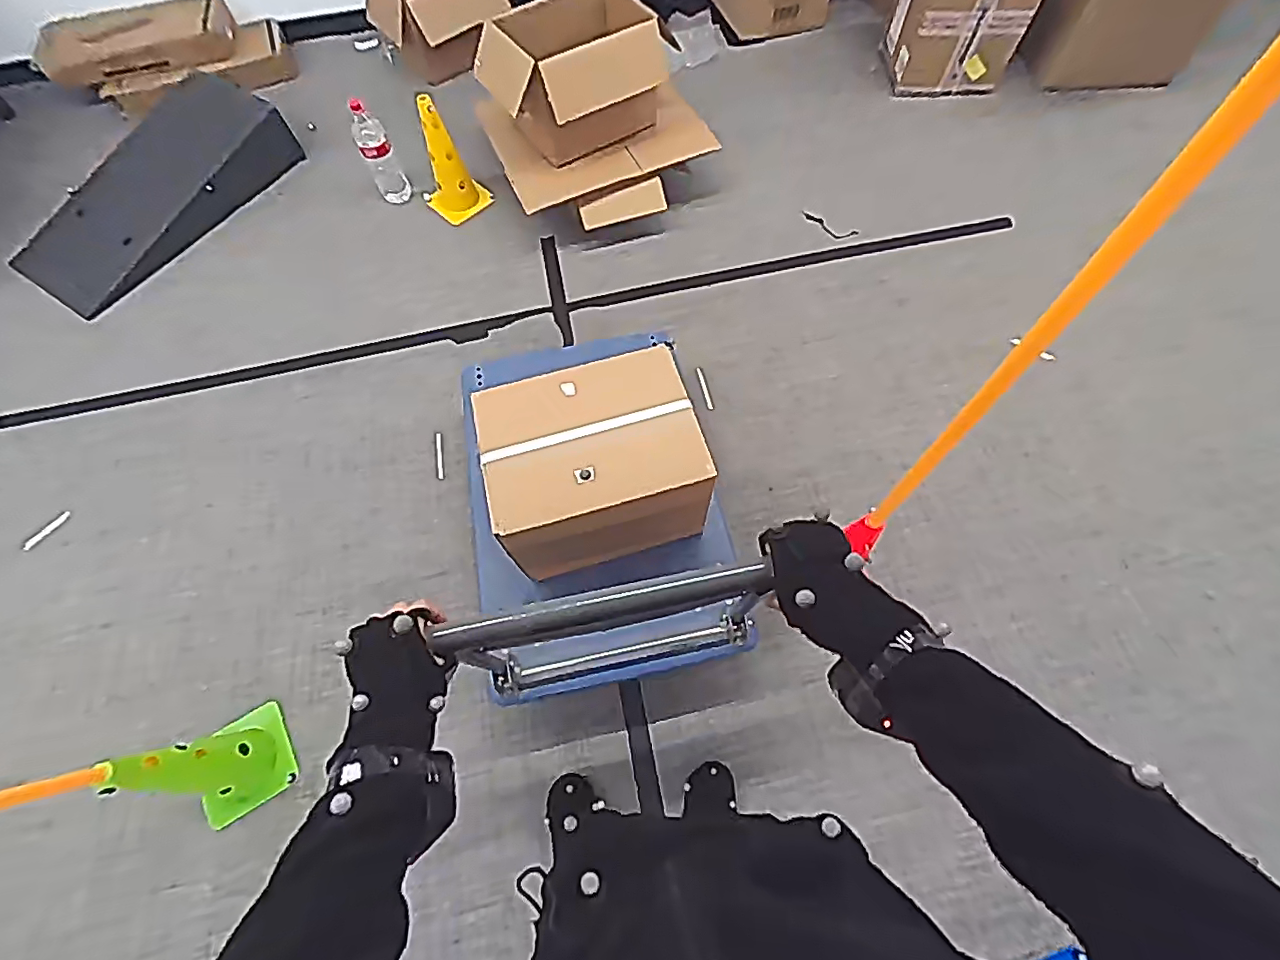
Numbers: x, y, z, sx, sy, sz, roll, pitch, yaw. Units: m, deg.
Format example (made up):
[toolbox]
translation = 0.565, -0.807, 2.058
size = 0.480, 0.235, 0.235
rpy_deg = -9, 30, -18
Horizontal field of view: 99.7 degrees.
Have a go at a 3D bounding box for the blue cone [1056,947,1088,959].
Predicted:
[blue cone]
translation = 0.787, 0.933, 0.849
size = 0.193, 0.380, 0.192
rpy_deg = -15, 64, -6

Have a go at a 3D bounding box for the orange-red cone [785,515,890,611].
[orange-red cone]
translation = 0.473, 0.156, 1.207
size = 0.199, 0.360, 0.198
rpy_deg = -5, 66, -2
